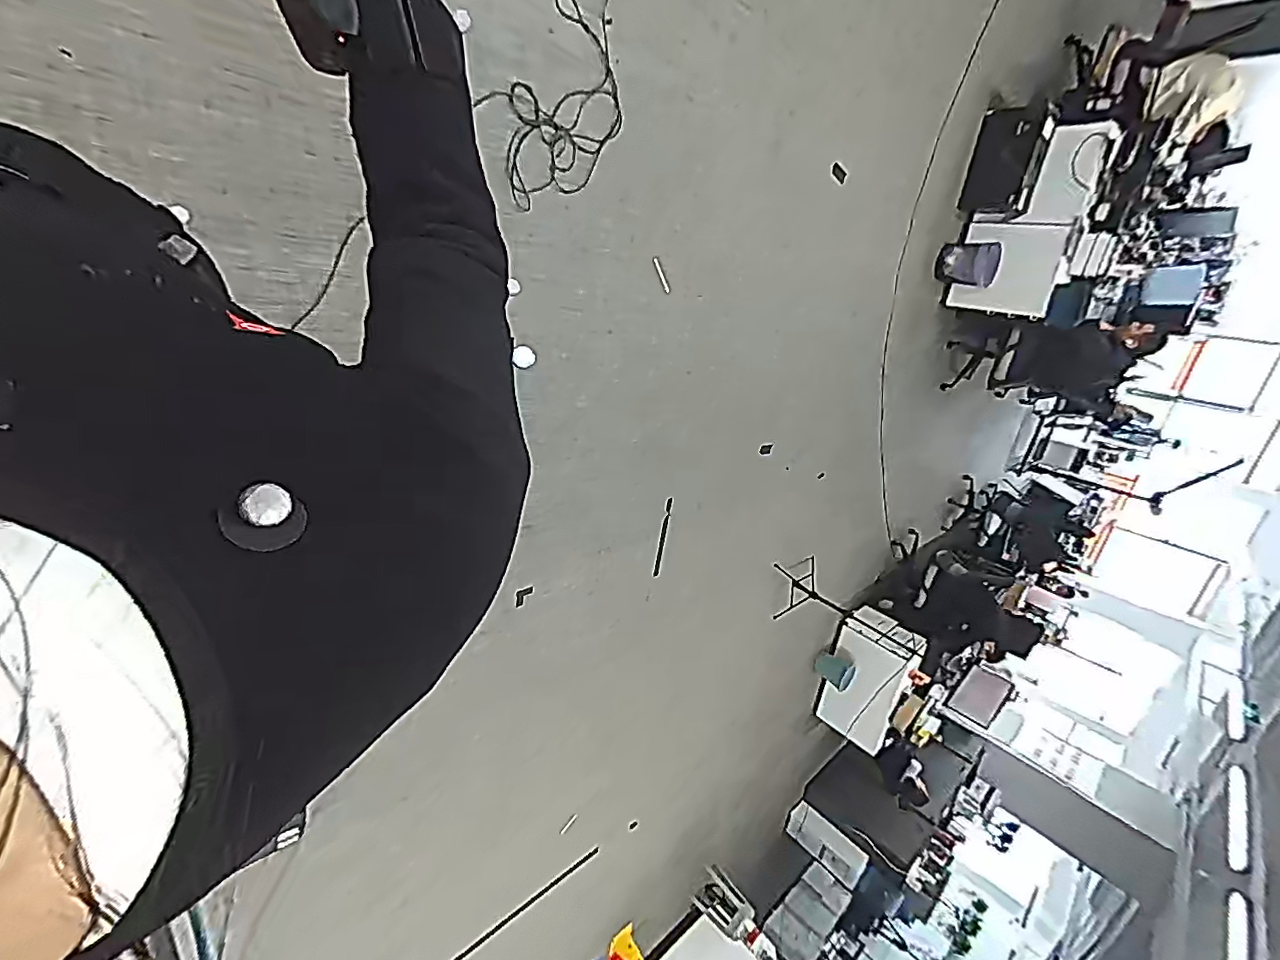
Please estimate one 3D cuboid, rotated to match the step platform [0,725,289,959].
[{"bbox_3d":[-1.249,0.889,1.297,0.684,0.204,0.286,-12,118,-40],"label":"step platform"}]
